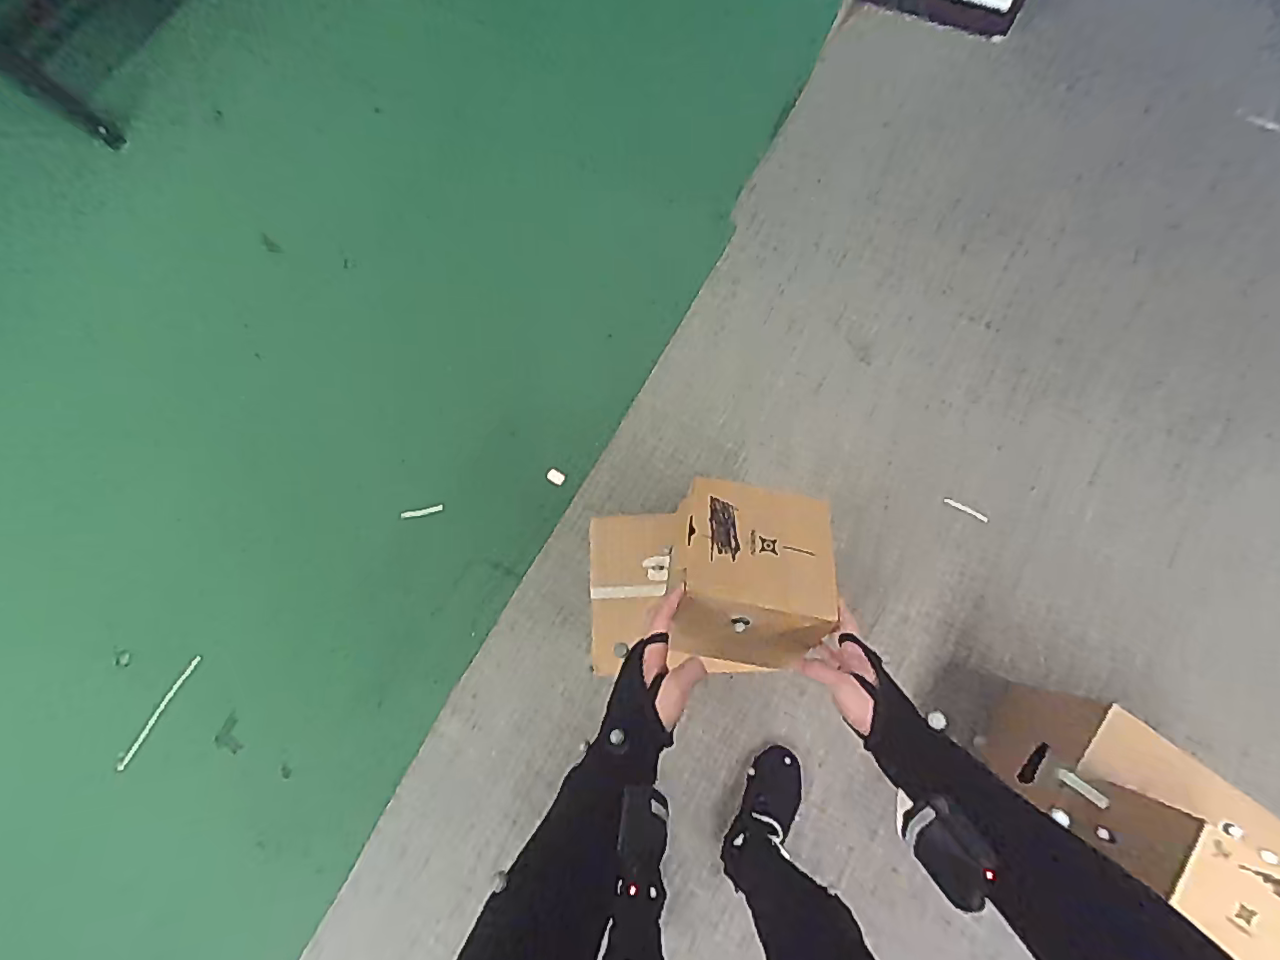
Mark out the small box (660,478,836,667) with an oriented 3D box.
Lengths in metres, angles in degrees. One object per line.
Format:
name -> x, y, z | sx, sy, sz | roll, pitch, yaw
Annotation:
small box -> 0.127, 0.124, 0.692 | 0.179, 0.176, 0.168 | 11, 53, -2

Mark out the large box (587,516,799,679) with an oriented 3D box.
large box -> 0.109, 0.256, 1.203 | 0.408, 0.320, 0.320 | -3, 75, 5

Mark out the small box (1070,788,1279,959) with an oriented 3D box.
small box -> 0.799, 0.608, 0.805 | 0.168, 0.176, 0.179 | 35, 83, 12
